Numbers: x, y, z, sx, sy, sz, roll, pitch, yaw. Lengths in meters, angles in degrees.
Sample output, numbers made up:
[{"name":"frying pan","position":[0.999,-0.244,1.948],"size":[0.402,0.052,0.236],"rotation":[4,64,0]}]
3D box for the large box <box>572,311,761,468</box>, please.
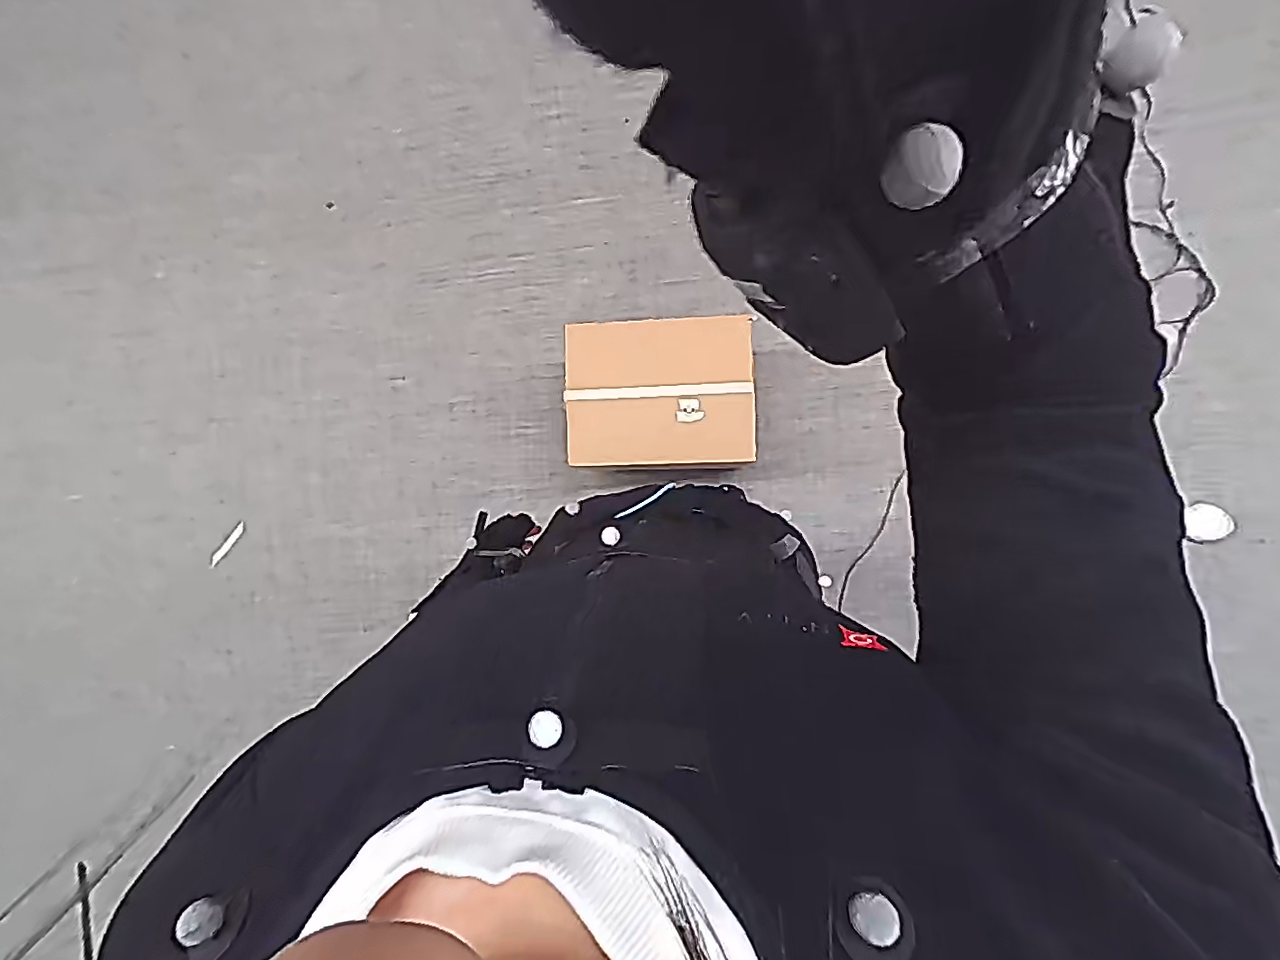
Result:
[{"name":"large box","position":[0.067,-0.196,1.309],"size":[0.408,0.320,0.320],"rotation":[-1,90,6]}]
